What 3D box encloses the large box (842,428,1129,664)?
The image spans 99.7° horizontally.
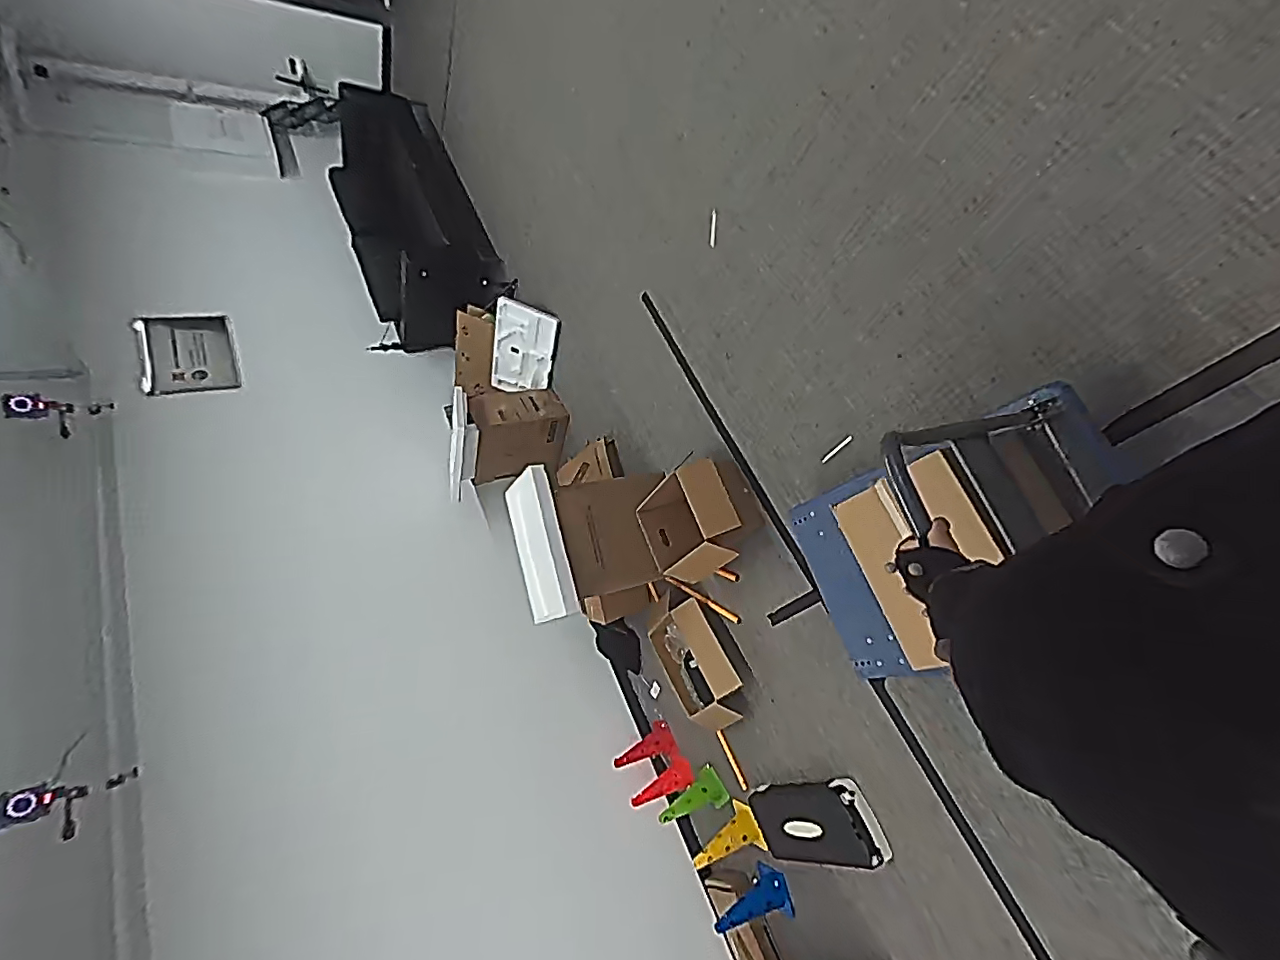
[{"bbox_3d":[0.743,0.144,1.200,0.320,0.320,0.408,-46,60,54],"label":"large box"}]
